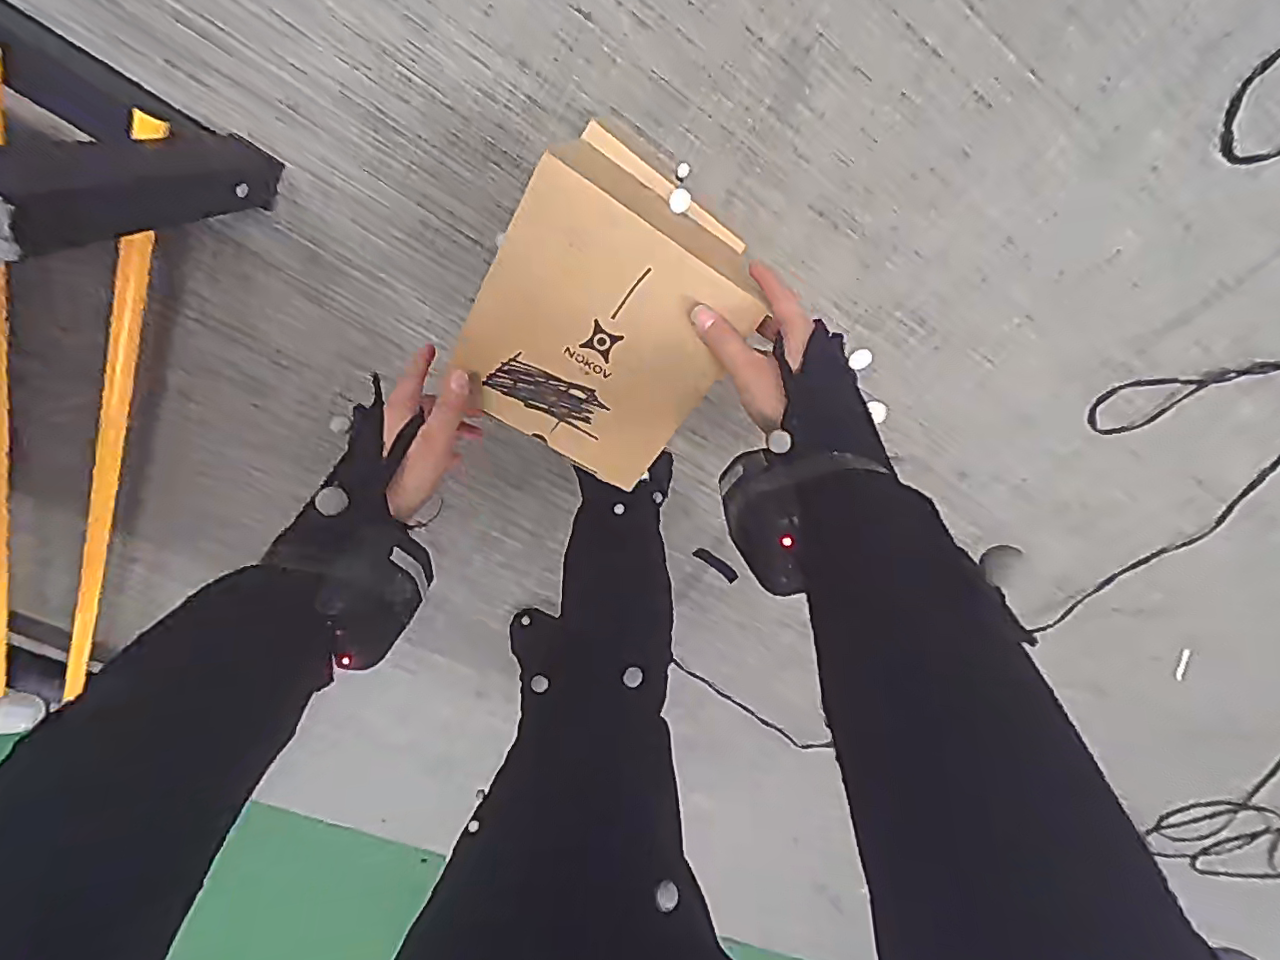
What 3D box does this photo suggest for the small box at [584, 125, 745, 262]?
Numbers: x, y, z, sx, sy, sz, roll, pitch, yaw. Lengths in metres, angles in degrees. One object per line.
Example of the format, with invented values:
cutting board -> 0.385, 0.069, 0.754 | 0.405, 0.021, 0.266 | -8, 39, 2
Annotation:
small box -> -0.018, -0.234, 0.568 | 0.168, 0.176, 0.179 | 32, 118, -16

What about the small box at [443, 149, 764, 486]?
small box -> -0.027, -0.134, 0.438 | 0.168, 0.176, 0.179 | 29, 119, -16
